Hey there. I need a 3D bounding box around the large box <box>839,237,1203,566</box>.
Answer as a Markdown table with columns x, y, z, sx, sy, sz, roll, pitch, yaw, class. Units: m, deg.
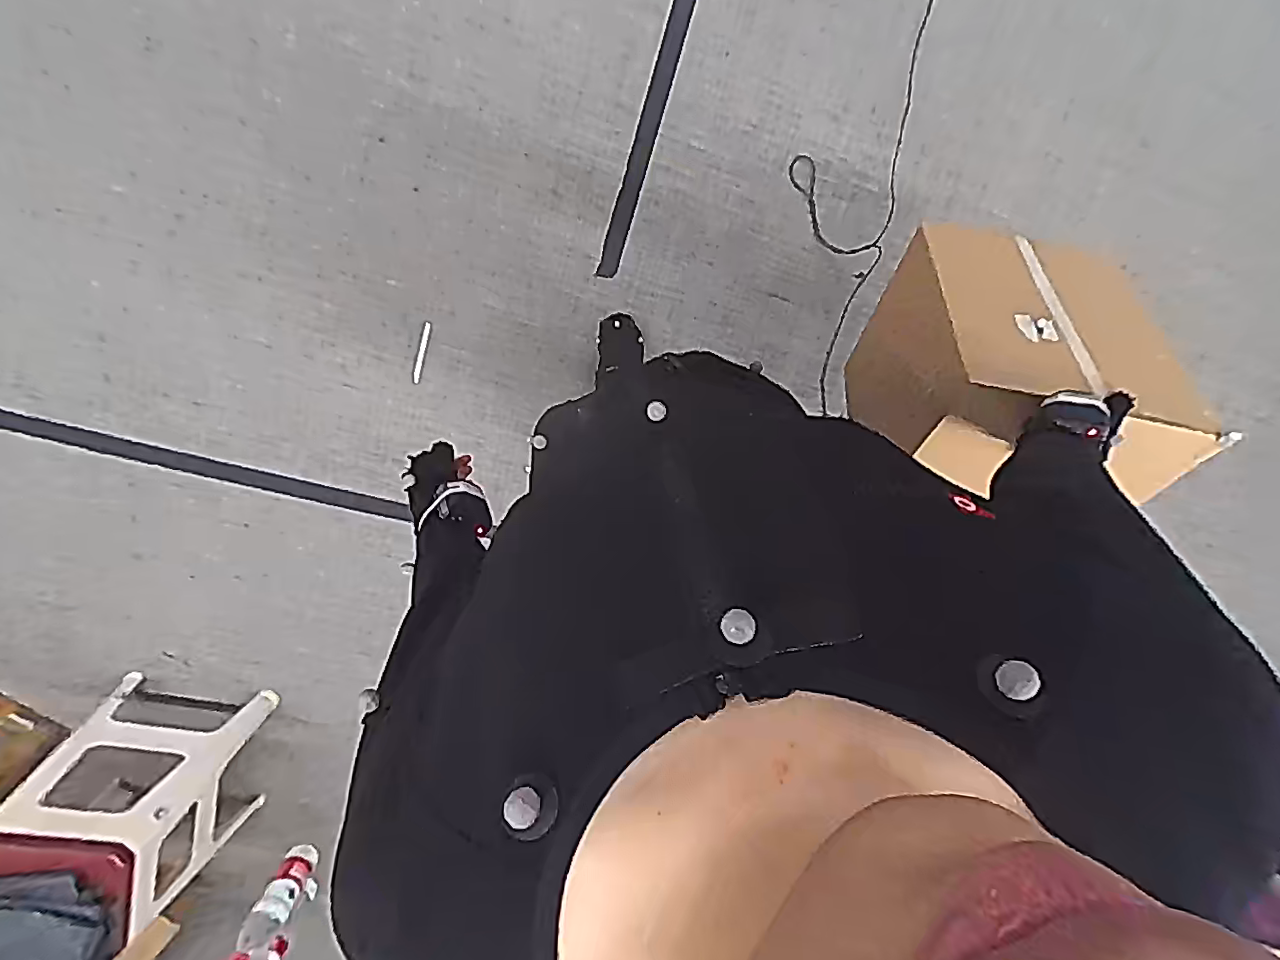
| x | y | z | sx | sy | sz | roll | pitch | yaw | class |
| --- | --- | --- | --- | --- | --- | --- | --- | --- | --- |
| 0.550 | -0.128 | 0.894 | 0.320 | 0.408 | 0.320 | 12 | 143 | 0 | large box |
